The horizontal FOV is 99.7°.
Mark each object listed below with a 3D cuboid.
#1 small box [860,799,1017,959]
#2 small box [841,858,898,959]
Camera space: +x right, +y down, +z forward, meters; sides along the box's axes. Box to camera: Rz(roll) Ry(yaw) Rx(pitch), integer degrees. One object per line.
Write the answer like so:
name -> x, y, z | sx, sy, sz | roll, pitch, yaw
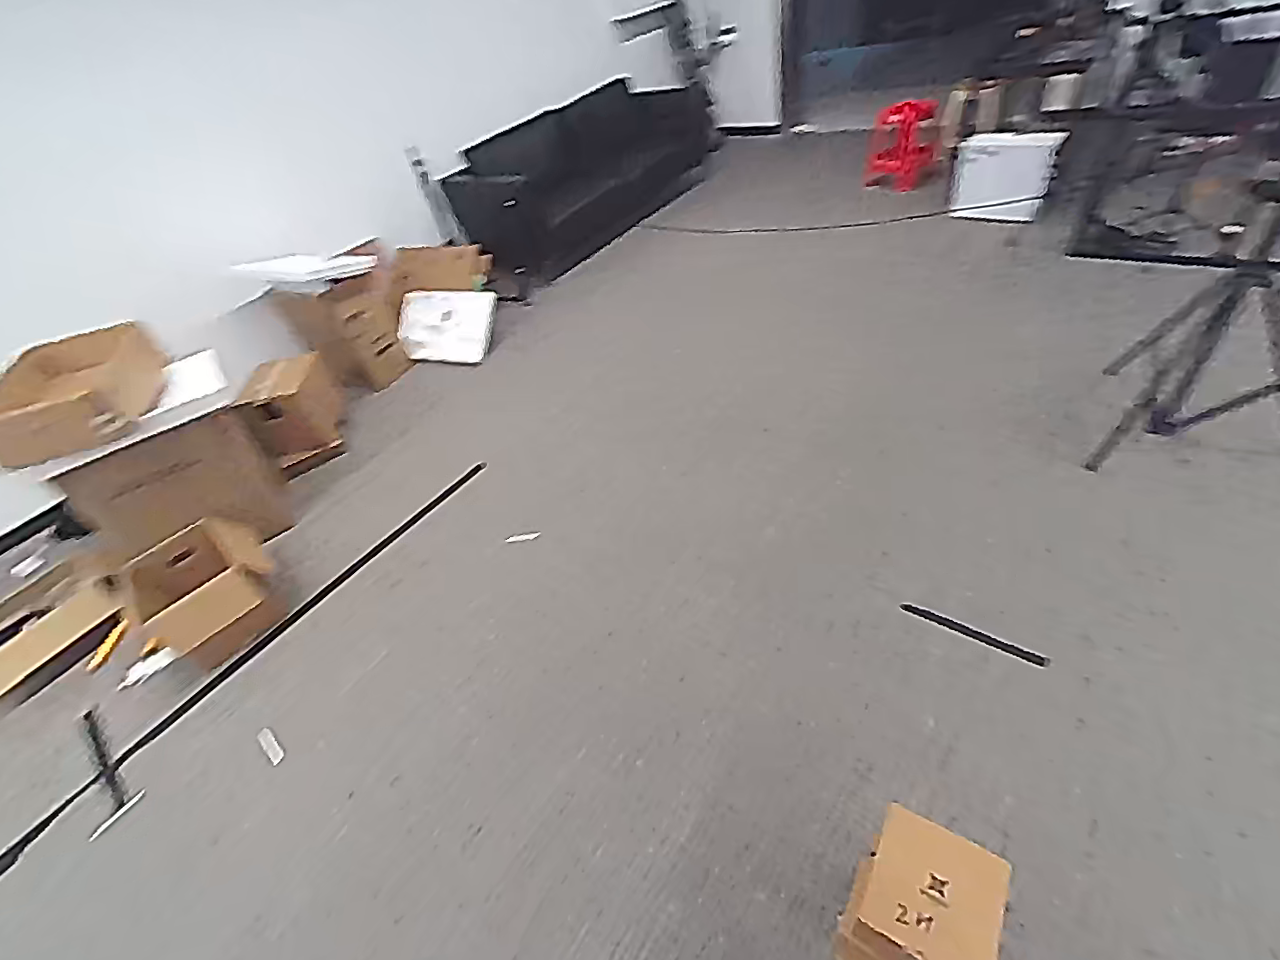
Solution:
small box -> 0.446, 0.639, 0.826 | 0.168, 0.176, 0.179 | 17, 53, 31
small box -> 0.502, 0.876, 1.048 | 0.168, 0.176, 0.179 | 21, 54, 33
